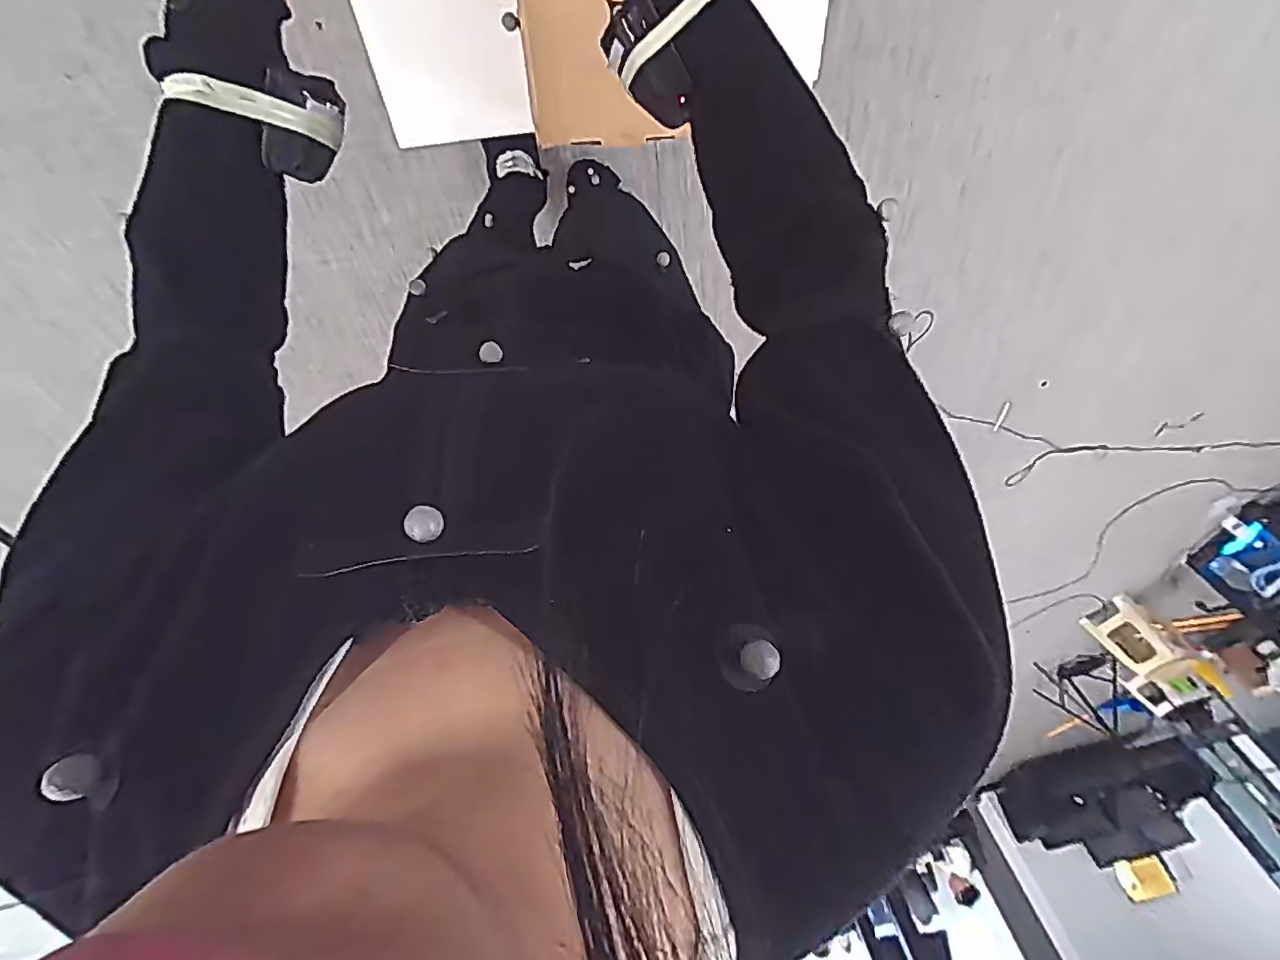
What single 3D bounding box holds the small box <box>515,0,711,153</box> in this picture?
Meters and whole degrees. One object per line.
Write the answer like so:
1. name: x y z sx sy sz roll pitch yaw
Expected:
1. small box: -0.033 -0.443 0.526 0.168 0.176 0.179 -9 135 -7
